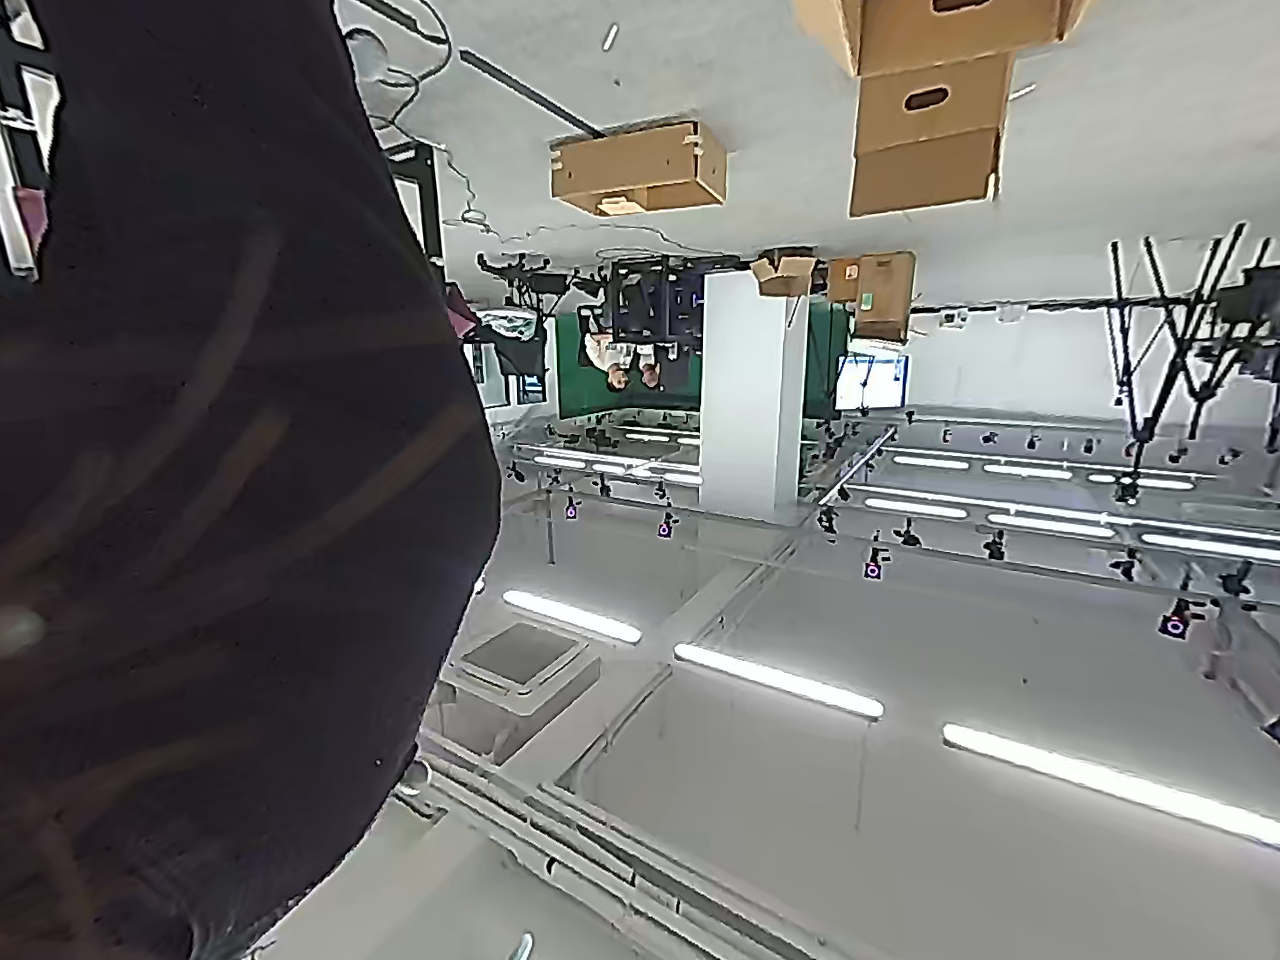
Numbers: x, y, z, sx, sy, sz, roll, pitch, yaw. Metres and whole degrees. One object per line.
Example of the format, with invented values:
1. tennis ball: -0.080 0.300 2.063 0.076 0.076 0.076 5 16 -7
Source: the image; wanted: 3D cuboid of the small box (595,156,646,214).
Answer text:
1. small box: -0.078 -1.189 2.177 0.168 0.176 0.179 3 -166 16
